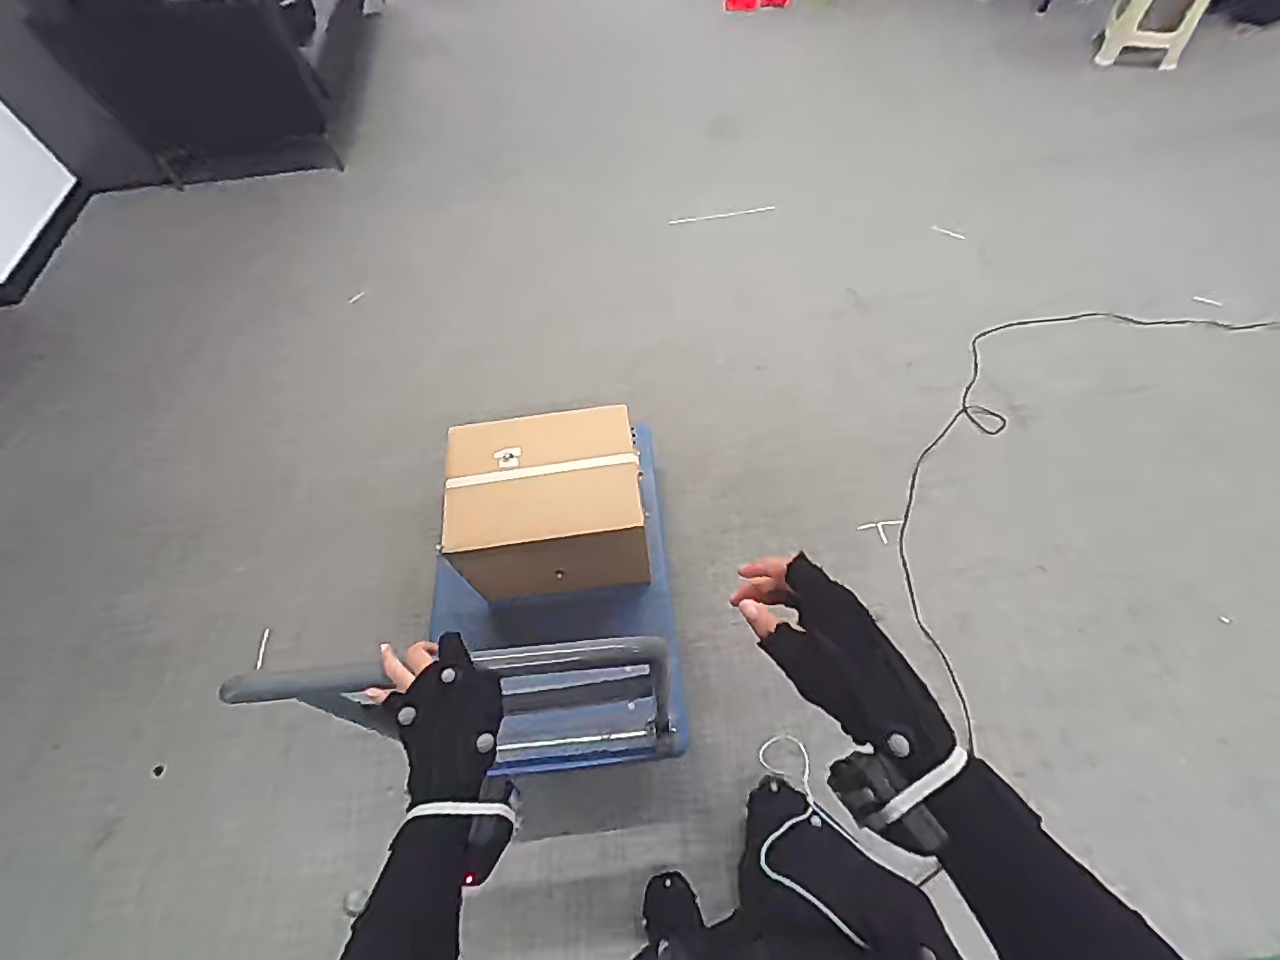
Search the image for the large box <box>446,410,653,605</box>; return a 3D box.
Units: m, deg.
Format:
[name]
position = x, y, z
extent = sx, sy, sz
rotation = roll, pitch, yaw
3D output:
[large box]
position = -0.195, 0.075, 1.273
extent = 0.408, 0.320, 0.320
rotation = -9, 57, 0
